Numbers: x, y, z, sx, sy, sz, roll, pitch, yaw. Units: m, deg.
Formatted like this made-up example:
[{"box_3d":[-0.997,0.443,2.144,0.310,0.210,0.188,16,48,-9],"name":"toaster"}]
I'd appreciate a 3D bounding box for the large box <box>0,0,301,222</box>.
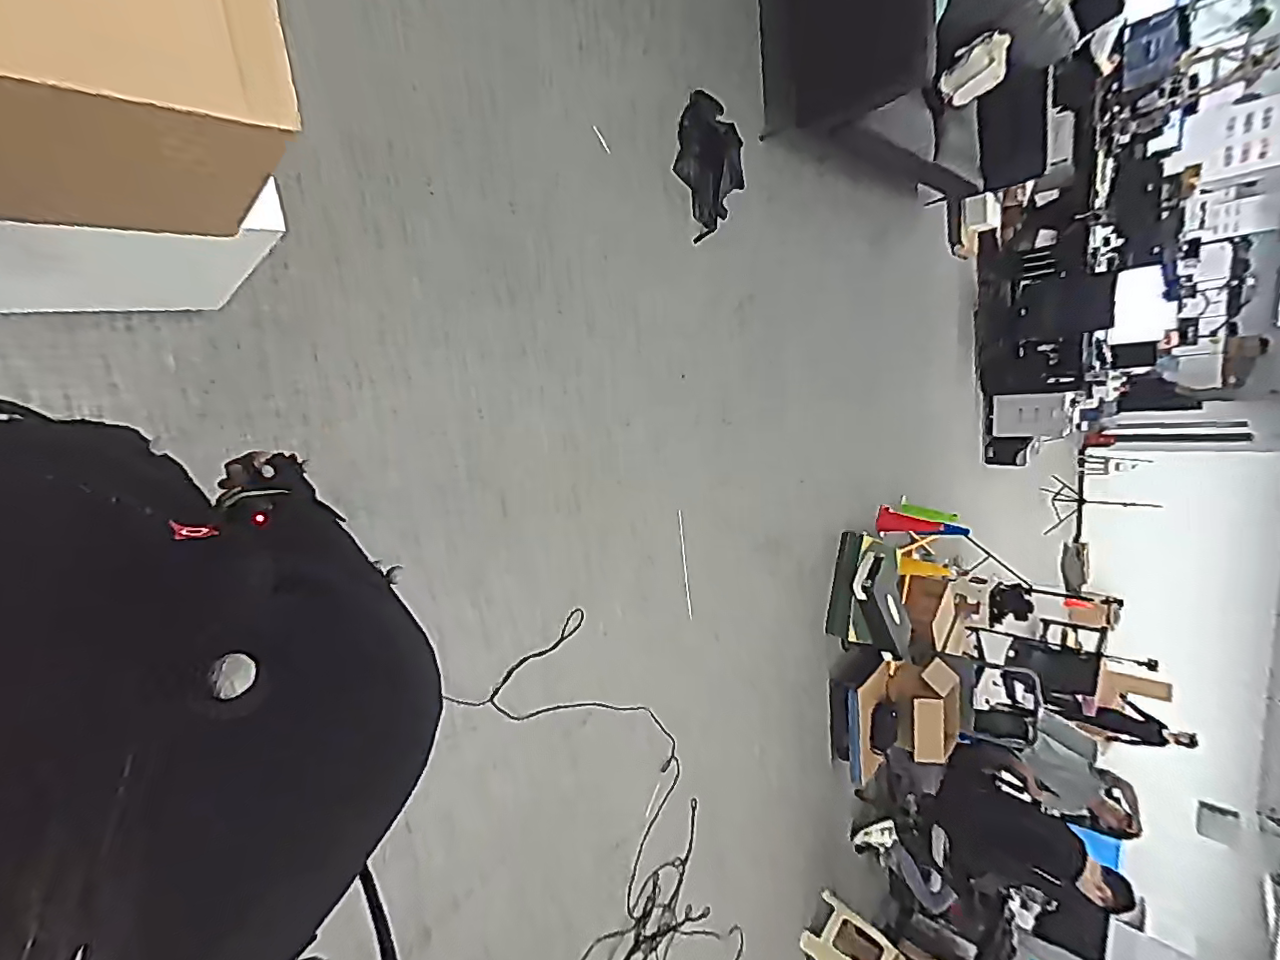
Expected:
[{"box_3d":[-0.541,-0.402,0.382,0.408,0.320,0.320,-18,106,-44],"name":"large box"}]
